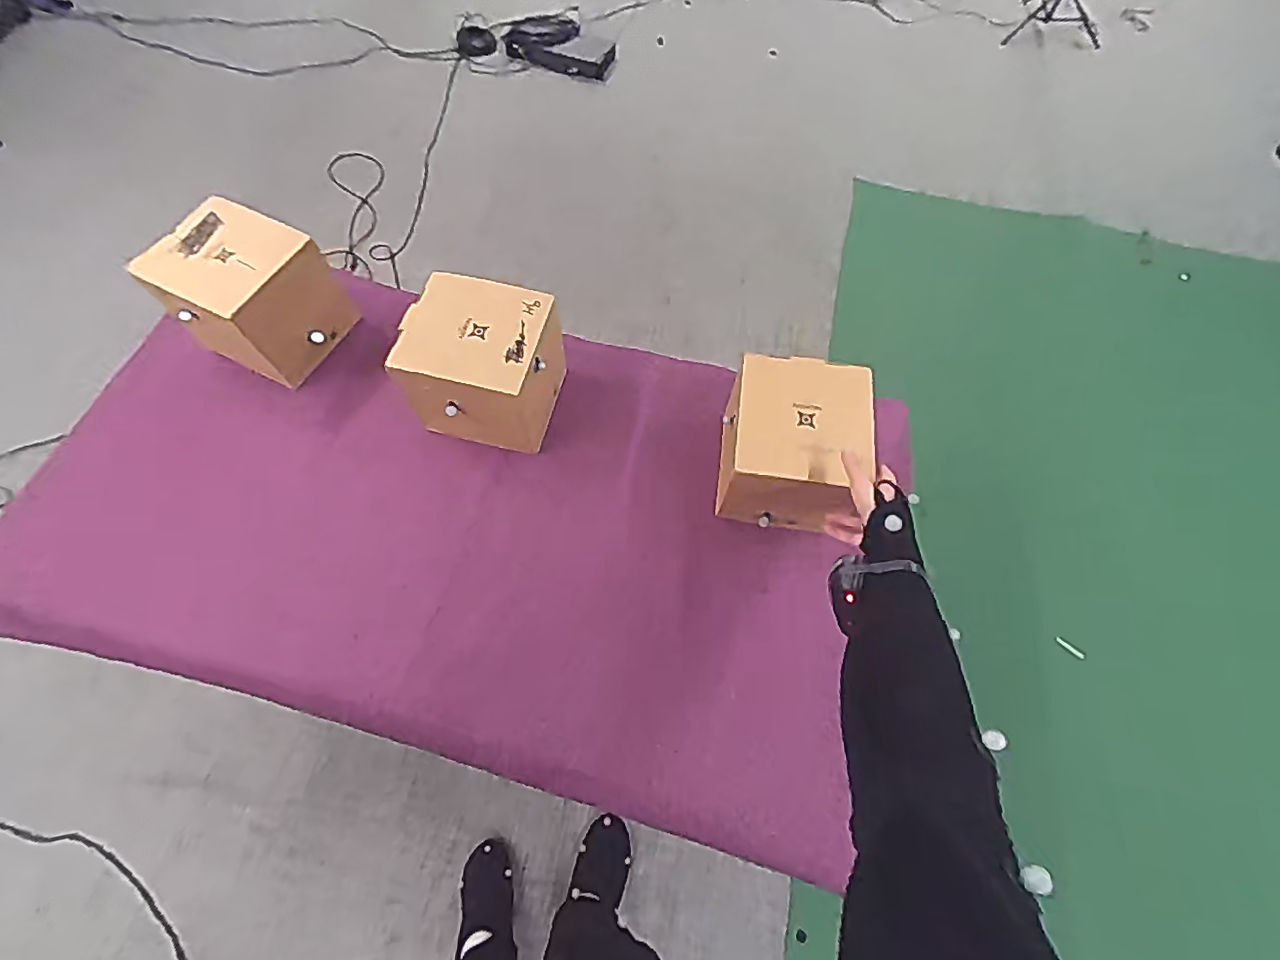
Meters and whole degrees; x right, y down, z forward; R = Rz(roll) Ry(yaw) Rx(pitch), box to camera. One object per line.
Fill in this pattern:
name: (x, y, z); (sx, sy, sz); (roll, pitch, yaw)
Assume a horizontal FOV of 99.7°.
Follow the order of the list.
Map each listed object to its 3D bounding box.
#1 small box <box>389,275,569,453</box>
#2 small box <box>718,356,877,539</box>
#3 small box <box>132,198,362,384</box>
small box: (-0.212, -0.156, 0.766); (0.179, 0.176, 0.168); (13, 66, 4)
small box: (0.204, -0.038, 0.731); (0.168, 0.176, 0.179); (9, 66, 3)
small box: (-0.562, -0.271, 0.801); (0.179, 0.176, 0.168); (25, 67, 8)
